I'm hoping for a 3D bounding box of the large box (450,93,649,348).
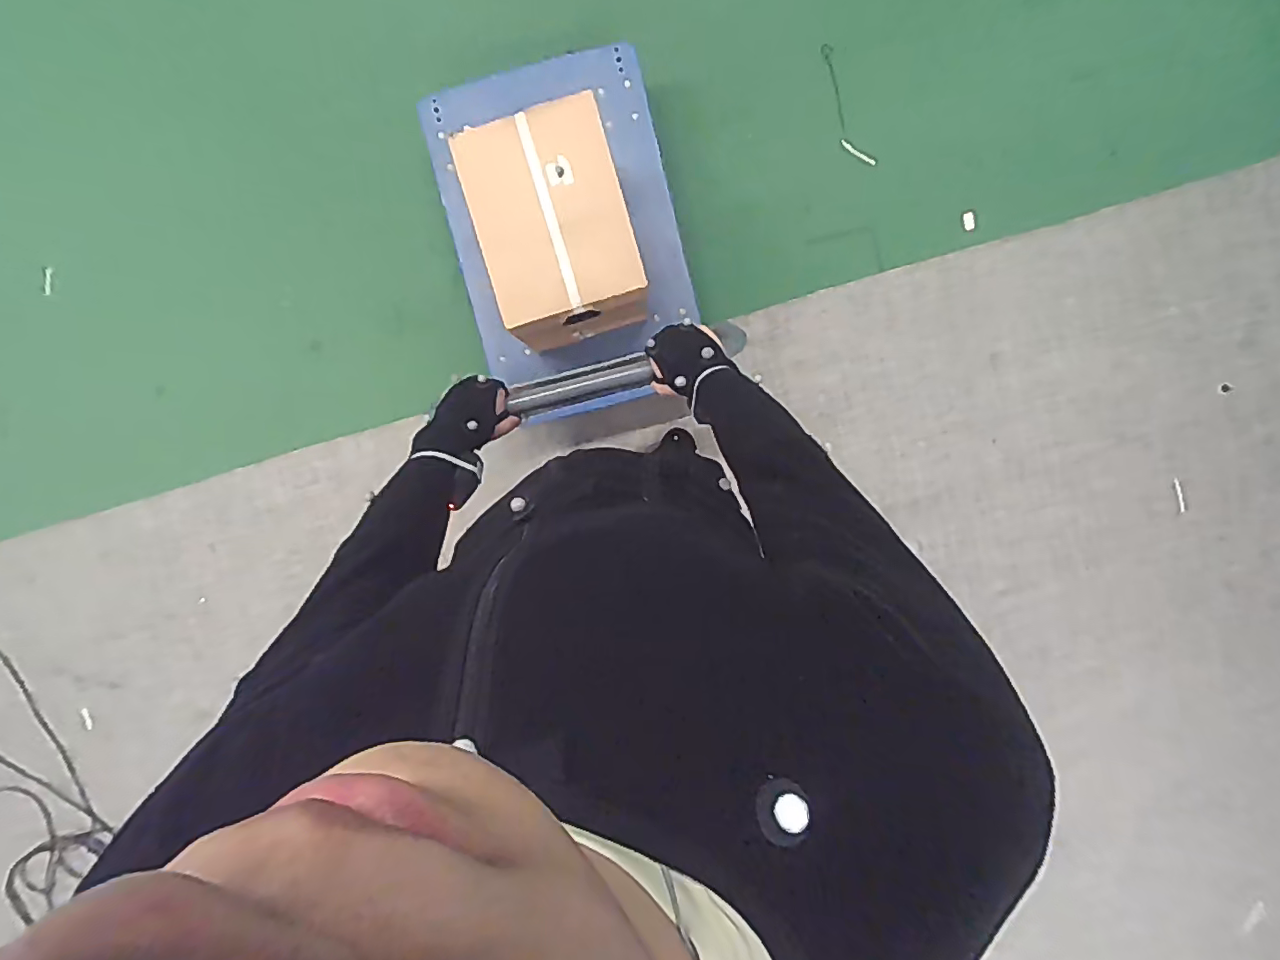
[{"bbox_3d":[-0.183,-0.565,1.262,0.320,0.320,0.408,-16,95,2],"label":"large box"}]
